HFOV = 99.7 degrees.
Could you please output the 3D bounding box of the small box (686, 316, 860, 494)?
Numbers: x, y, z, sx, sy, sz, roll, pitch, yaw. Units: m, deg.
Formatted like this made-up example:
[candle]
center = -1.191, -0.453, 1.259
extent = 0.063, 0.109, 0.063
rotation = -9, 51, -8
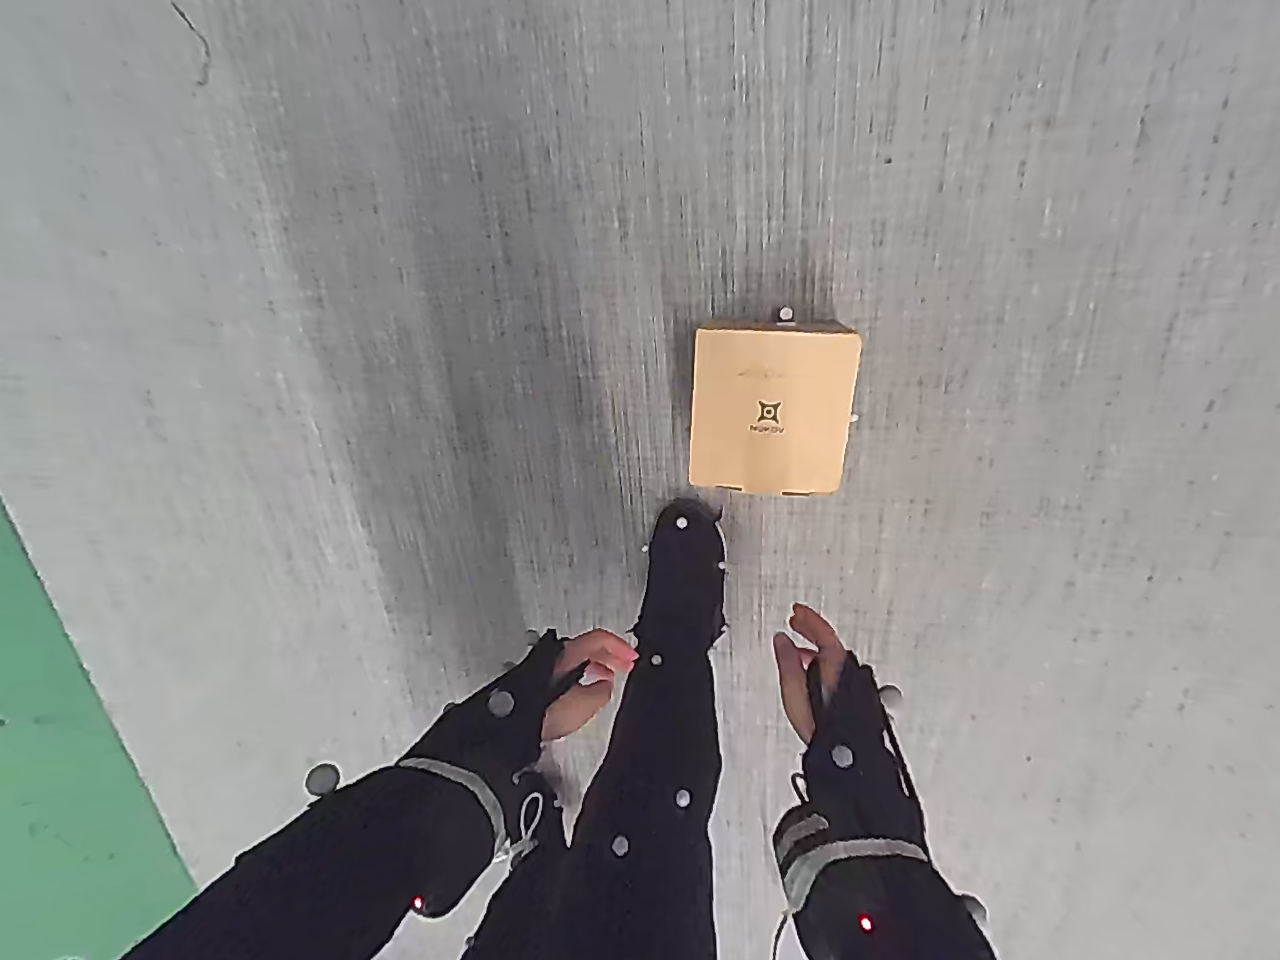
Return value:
[small box]
center = 0.150, -0.099, 0.645
extent = 0.168, 0.176, 0.179
rotation = 4, 110, 9
